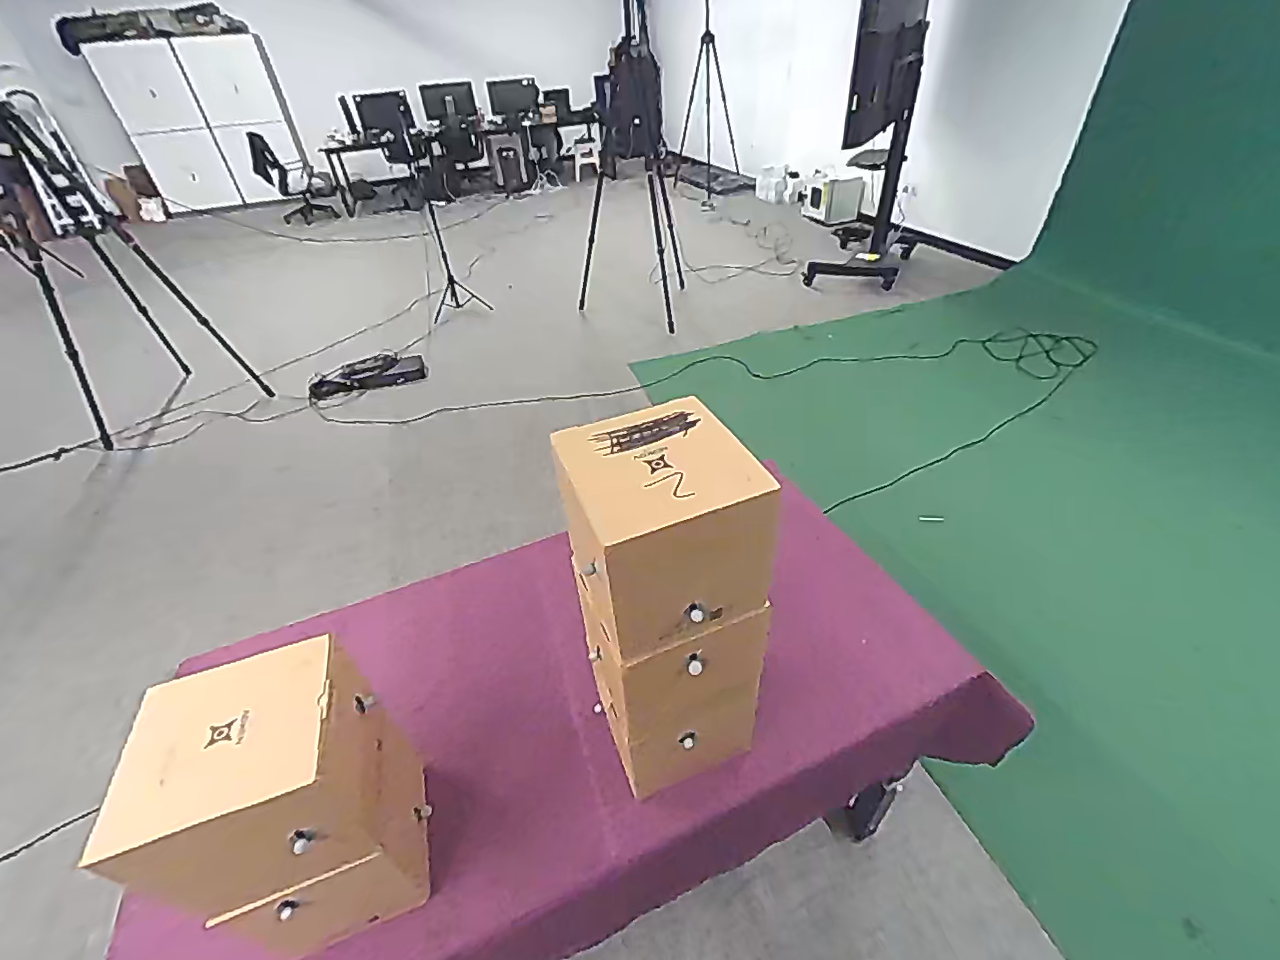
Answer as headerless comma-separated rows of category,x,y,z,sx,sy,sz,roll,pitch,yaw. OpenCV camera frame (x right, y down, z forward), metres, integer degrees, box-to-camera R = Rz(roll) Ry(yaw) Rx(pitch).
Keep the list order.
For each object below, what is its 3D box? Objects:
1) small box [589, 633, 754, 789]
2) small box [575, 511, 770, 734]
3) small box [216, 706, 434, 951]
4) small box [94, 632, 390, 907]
small box,0.043,0.298,0.763,0.179,0.176,0.168,-17,41,-14
small box,0.035,0.172,0.660,0.179,0.176,0.168,-18,42,-14
small box,-0.363,0.420,0.660,0.168,0.176,0.179,-17,40,-13
small box,-0.374,0.294,0.557,0.179,0.176,0.168,-16,41,-12
